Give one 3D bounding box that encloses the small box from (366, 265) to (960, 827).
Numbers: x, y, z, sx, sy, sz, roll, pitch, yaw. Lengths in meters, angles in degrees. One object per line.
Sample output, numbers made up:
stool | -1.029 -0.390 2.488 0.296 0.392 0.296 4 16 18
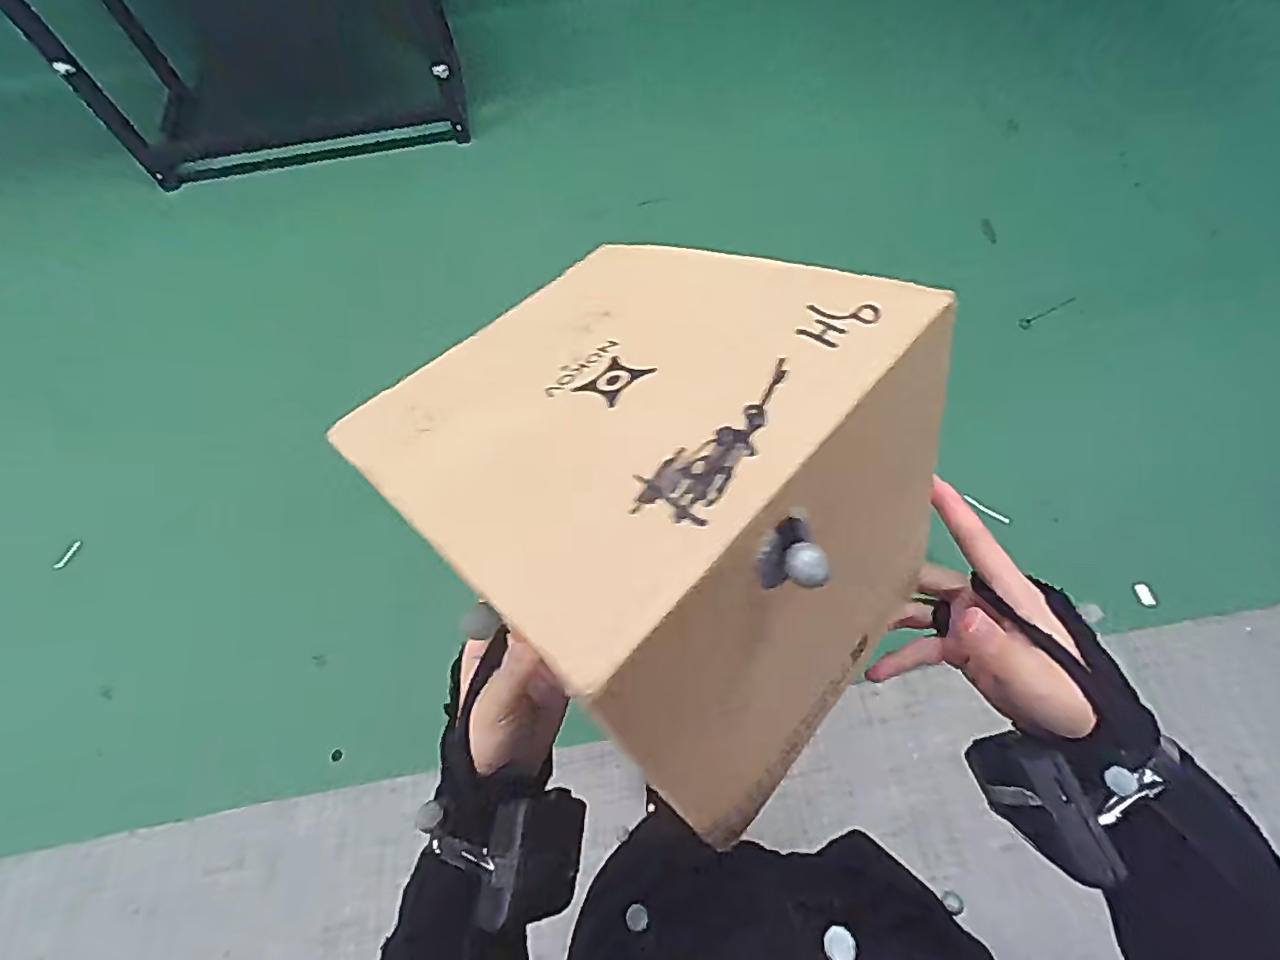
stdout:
small box | 0.017 0.023 0.258 0.179 0.176 0.168 28 63 40
